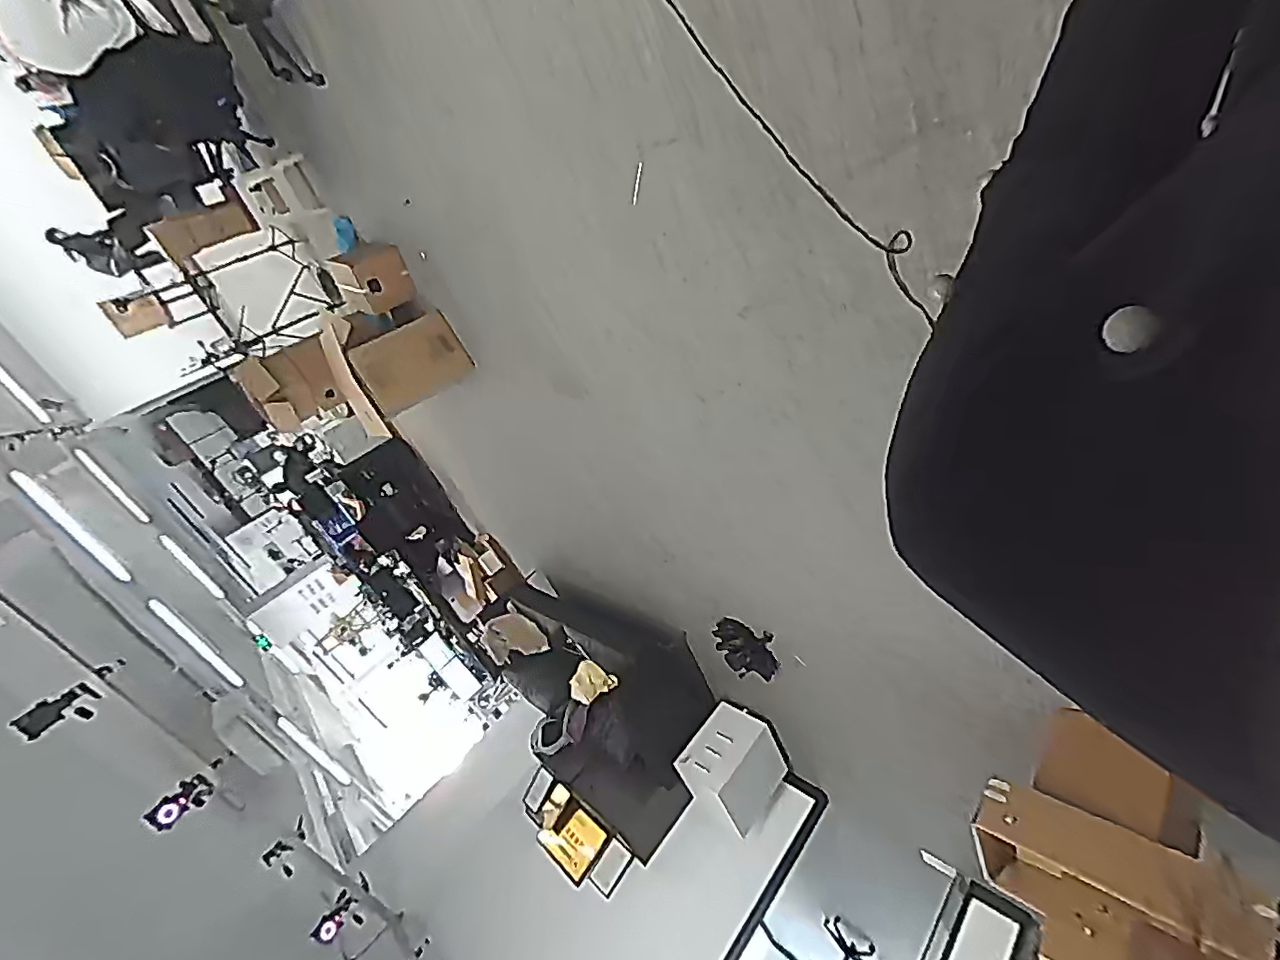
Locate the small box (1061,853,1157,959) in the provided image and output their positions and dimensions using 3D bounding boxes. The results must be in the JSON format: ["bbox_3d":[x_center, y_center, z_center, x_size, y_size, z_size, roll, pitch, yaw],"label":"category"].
[{"bbox_3d":[1.314,1.203,1.511,0.168,0.176,0.179,-2,124,53],"label":"small box"}]

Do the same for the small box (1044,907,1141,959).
[{"bbox_3d":[1.206,1.299,1.432,0.168,0.176,0.179,0,124,53],"label":"small box"}]
